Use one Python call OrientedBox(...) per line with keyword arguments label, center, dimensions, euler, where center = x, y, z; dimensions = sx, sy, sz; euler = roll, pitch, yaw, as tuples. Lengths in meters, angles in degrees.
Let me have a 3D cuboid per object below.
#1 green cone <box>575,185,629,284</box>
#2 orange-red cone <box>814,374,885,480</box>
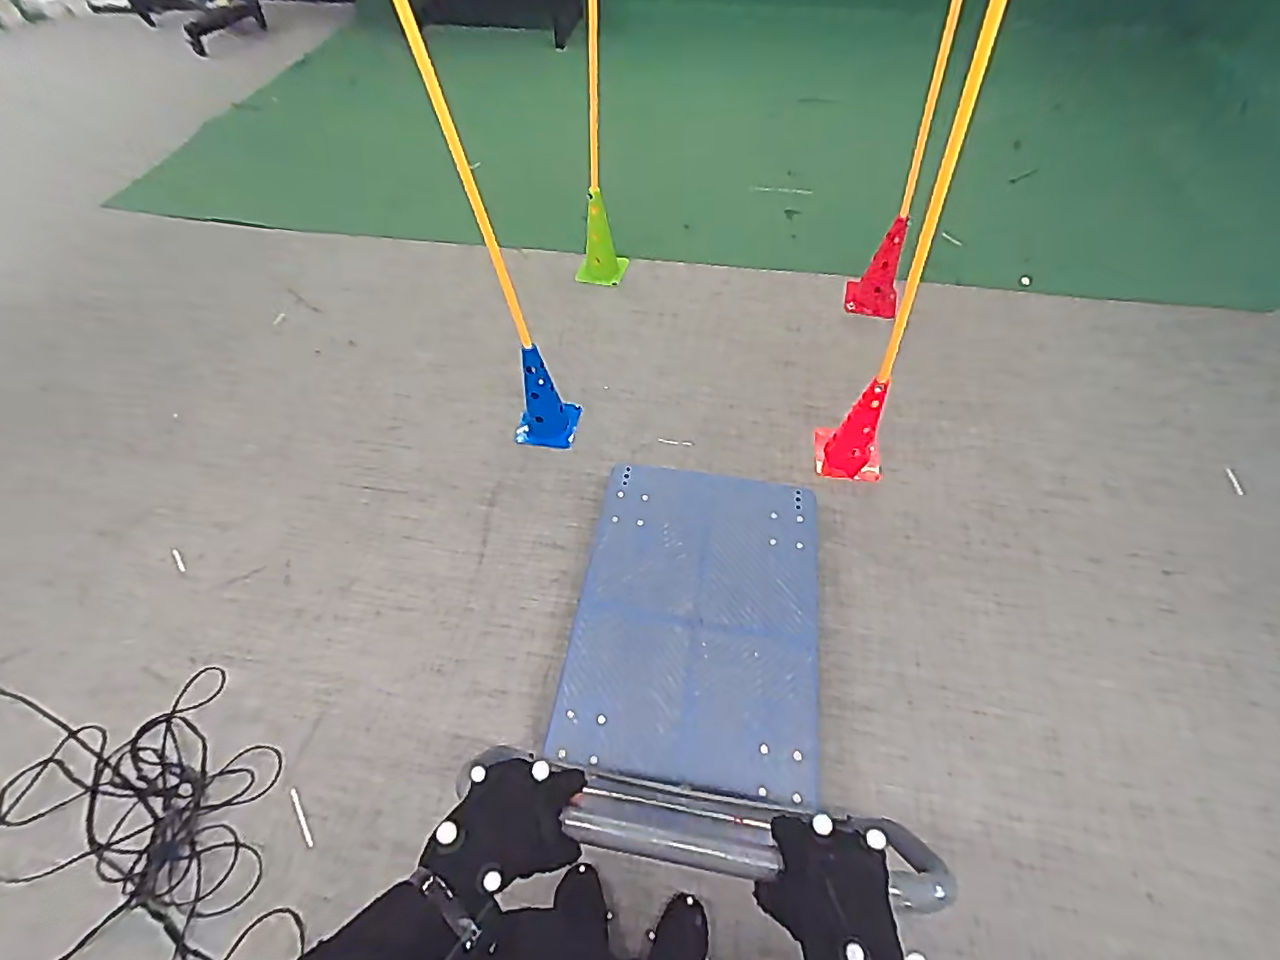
OrientedBox(label="green cone", center=(-0.170, -1.024, 2.222), dimensions=(0.202, 0.368, 0.200), euler=(11, 57, 10))
OrientedBox(label="orange-red cone", center=(0.669, -0.182, 1.649), dimensions=(0.199, 0.360, 0.198), euler=(6, 56, 8))
